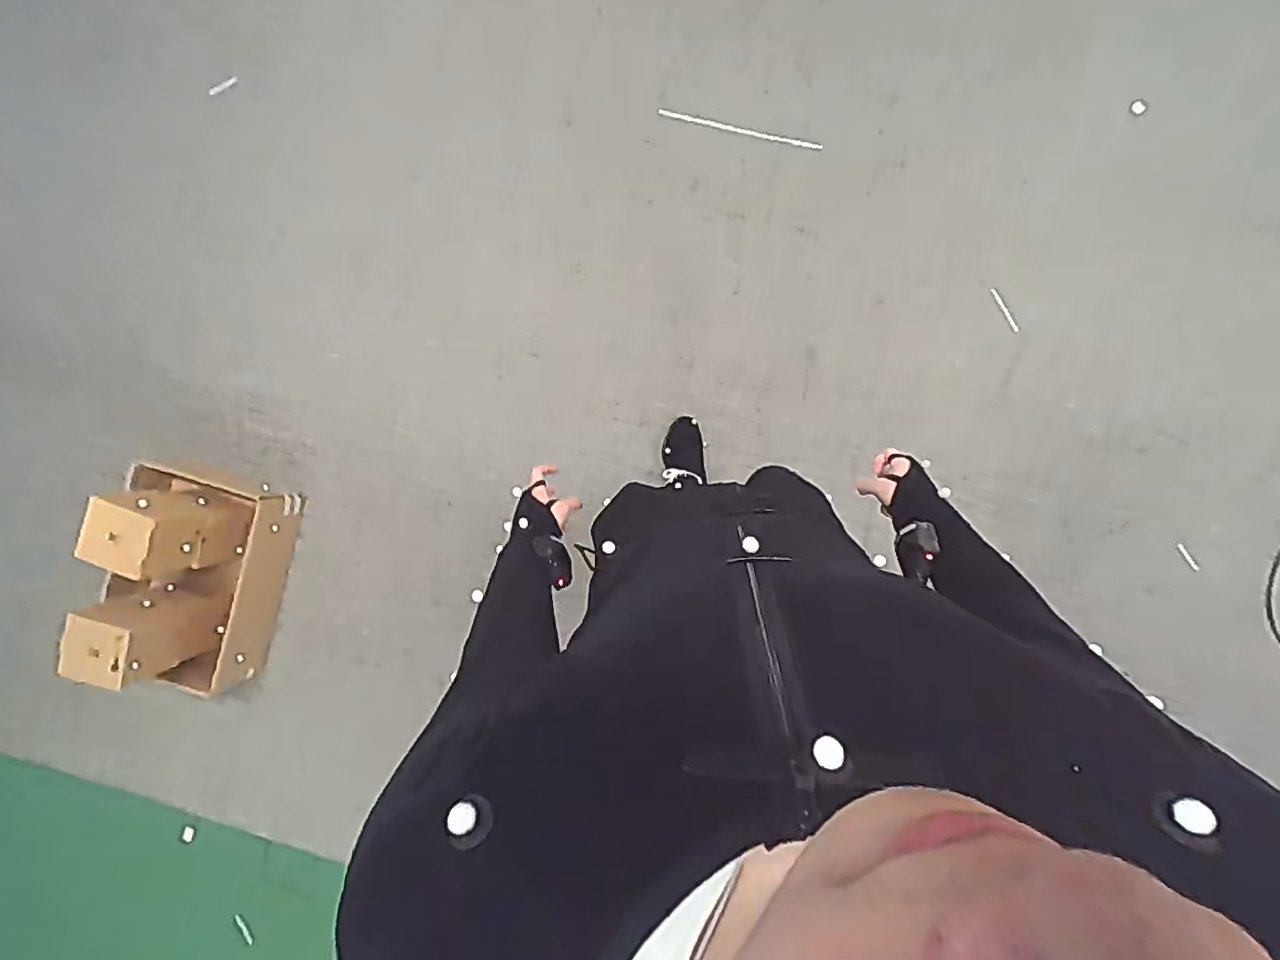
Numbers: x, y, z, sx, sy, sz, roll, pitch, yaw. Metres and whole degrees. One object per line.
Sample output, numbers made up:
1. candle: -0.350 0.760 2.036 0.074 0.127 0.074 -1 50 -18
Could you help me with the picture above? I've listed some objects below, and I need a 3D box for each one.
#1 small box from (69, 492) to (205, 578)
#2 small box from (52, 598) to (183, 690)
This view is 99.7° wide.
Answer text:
1. small box: -1.306 0.136 1.413 0.179 0.176 0.168 20 94 0
2. small box: -1.379 0.426 1.436 0.179 0.176 0.168 14 95 2
